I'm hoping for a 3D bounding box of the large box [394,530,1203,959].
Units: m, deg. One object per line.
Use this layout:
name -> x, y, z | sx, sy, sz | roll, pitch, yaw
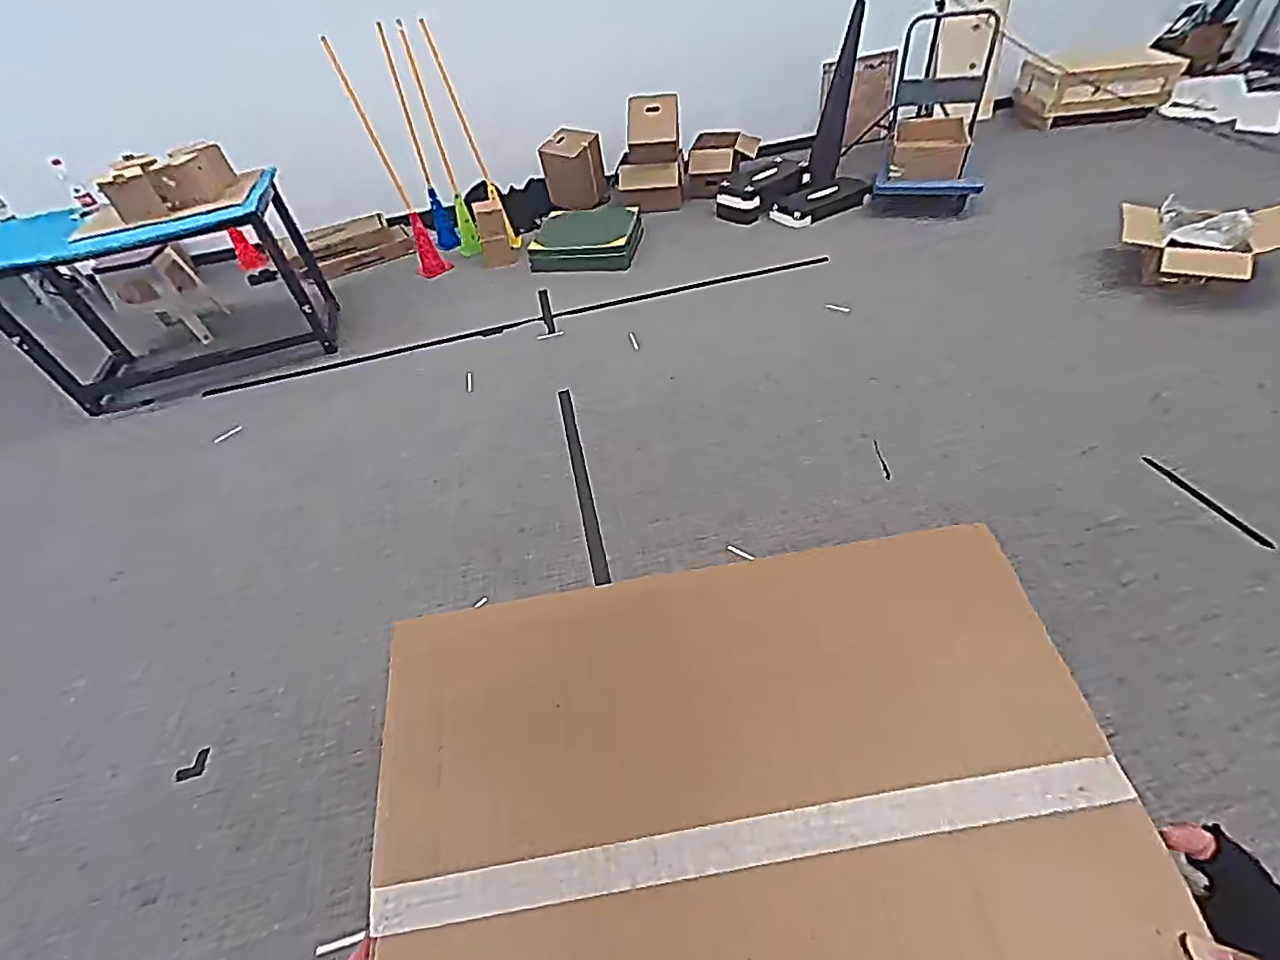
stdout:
large box -> 0.073, 0.274, 0.425 | 0.408, 0.320, 0.320 | -9, 59, 0
